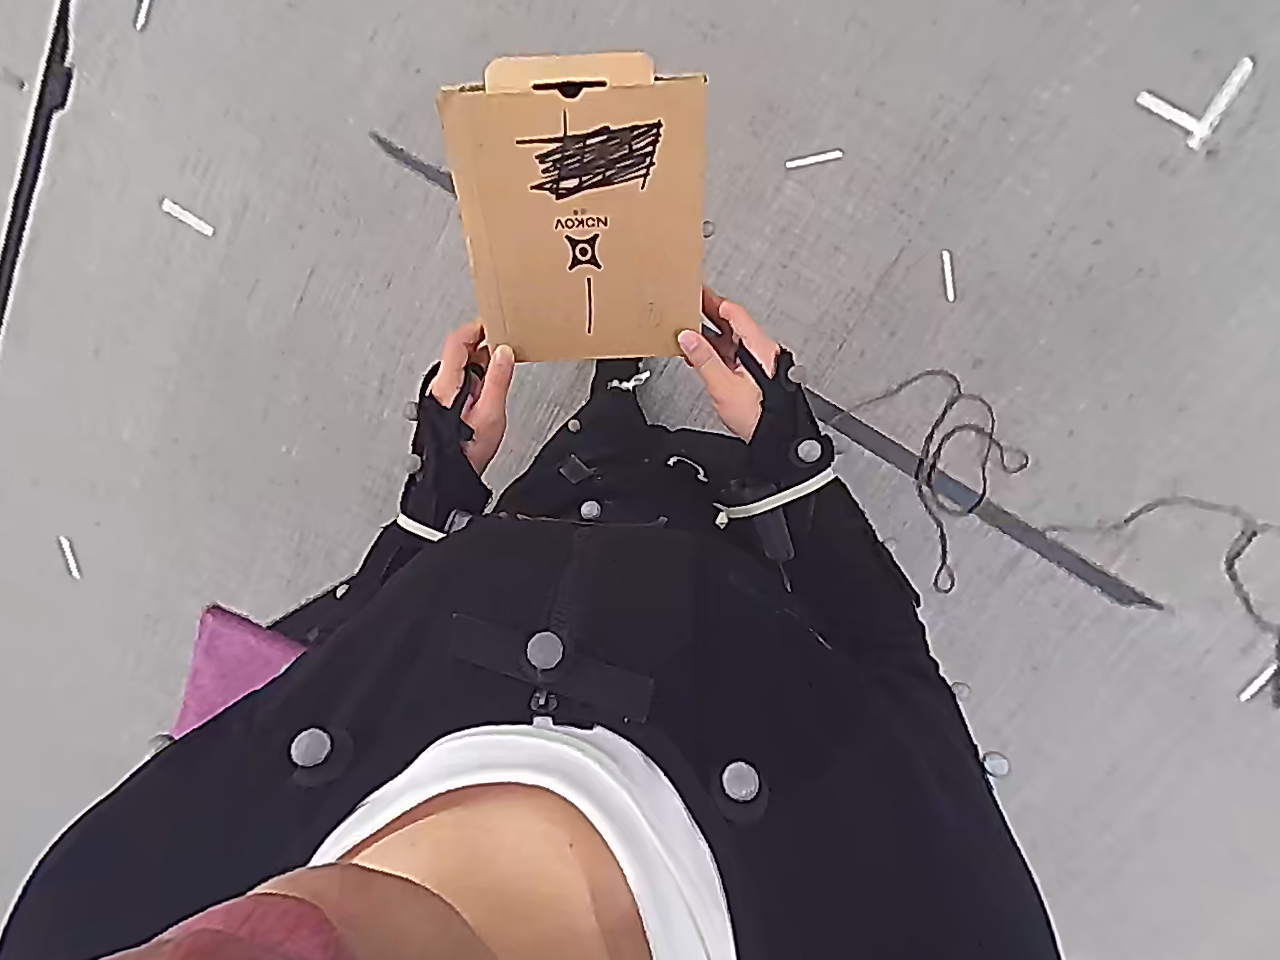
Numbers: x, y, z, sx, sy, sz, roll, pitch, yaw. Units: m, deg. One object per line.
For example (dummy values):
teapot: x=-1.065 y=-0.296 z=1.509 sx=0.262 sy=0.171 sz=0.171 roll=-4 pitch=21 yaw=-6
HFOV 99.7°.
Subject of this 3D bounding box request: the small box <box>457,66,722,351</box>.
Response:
small box: x=-0.031 y=-0.216 z=0.439 sx=0.168 sy=0.176 sz=0.179 roll=-1 pitch=123 yaw=1
